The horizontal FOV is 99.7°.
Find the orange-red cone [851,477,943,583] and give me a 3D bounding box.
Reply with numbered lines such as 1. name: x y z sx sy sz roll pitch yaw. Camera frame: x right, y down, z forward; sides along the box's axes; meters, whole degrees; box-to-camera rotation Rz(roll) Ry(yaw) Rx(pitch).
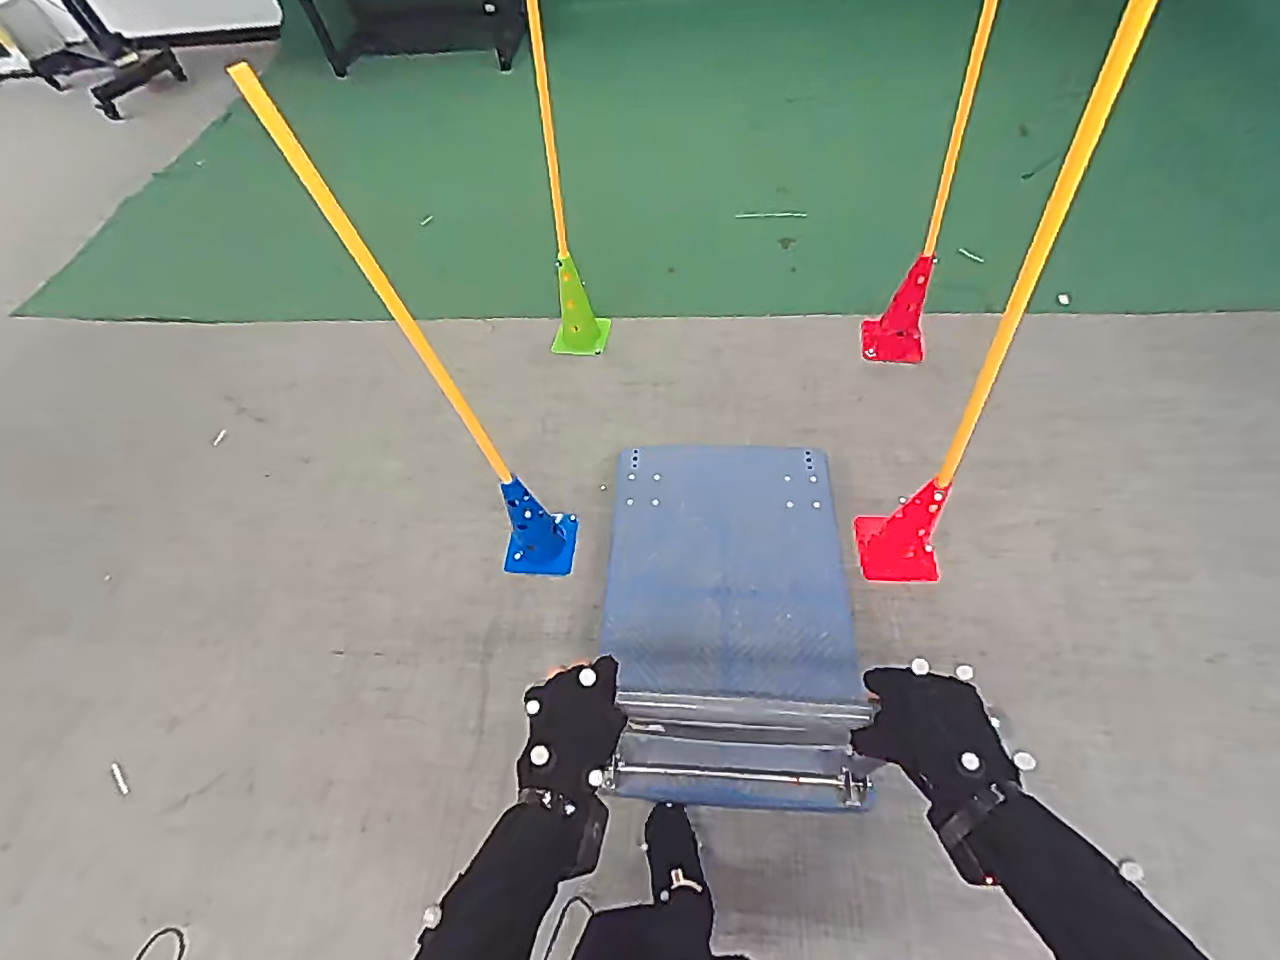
1. orange-red cone: 0.691 0.104 1.384 0.199 0.360 0.198 0 57 7

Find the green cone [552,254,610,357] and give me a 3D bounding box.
1. green cone: -0.243 -0.644 1.941 0.202 0.368 0.200 5 58 9
